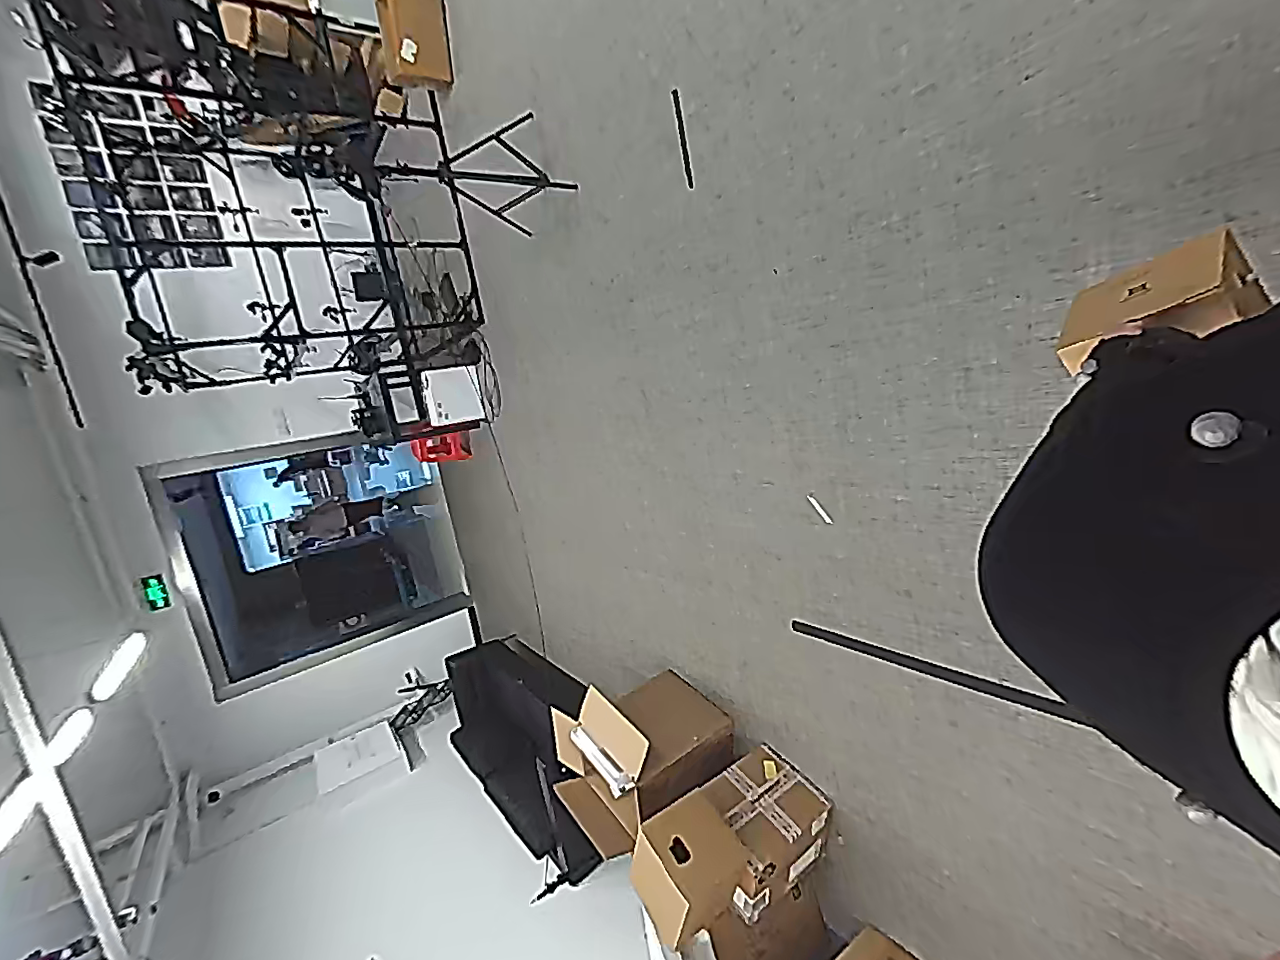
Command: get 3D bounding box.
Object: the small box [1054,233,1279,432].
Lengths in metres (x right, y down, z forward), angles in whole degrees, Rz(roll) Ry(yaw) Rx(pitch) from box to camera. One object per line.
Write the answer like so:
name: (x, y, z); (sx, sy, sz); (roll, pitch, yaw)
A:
small box: (0.704, -0.183, 0.725); (0.176, 0.179, 0.168); (49, 149, -10)
